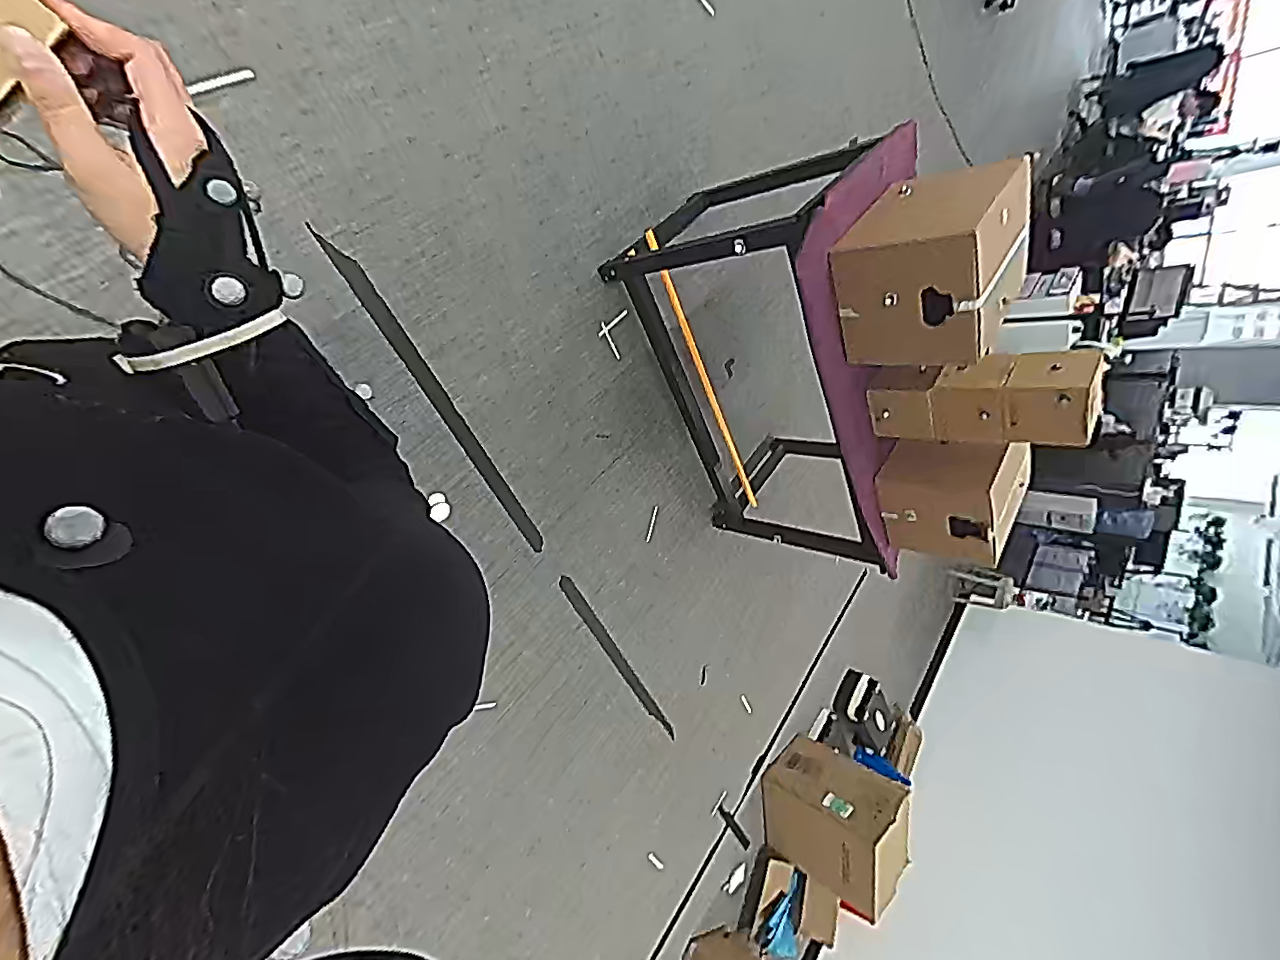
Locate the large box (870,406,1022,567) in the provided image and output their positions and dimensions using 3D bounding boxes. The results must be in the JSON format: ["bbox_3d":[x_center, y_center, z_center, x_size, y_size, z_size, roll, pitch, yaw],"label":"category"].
[{"bbox_3d":[0.976,0.004,1.715,0.408,0.320,0.320,-48,128,-29],"label":"large box"}]
